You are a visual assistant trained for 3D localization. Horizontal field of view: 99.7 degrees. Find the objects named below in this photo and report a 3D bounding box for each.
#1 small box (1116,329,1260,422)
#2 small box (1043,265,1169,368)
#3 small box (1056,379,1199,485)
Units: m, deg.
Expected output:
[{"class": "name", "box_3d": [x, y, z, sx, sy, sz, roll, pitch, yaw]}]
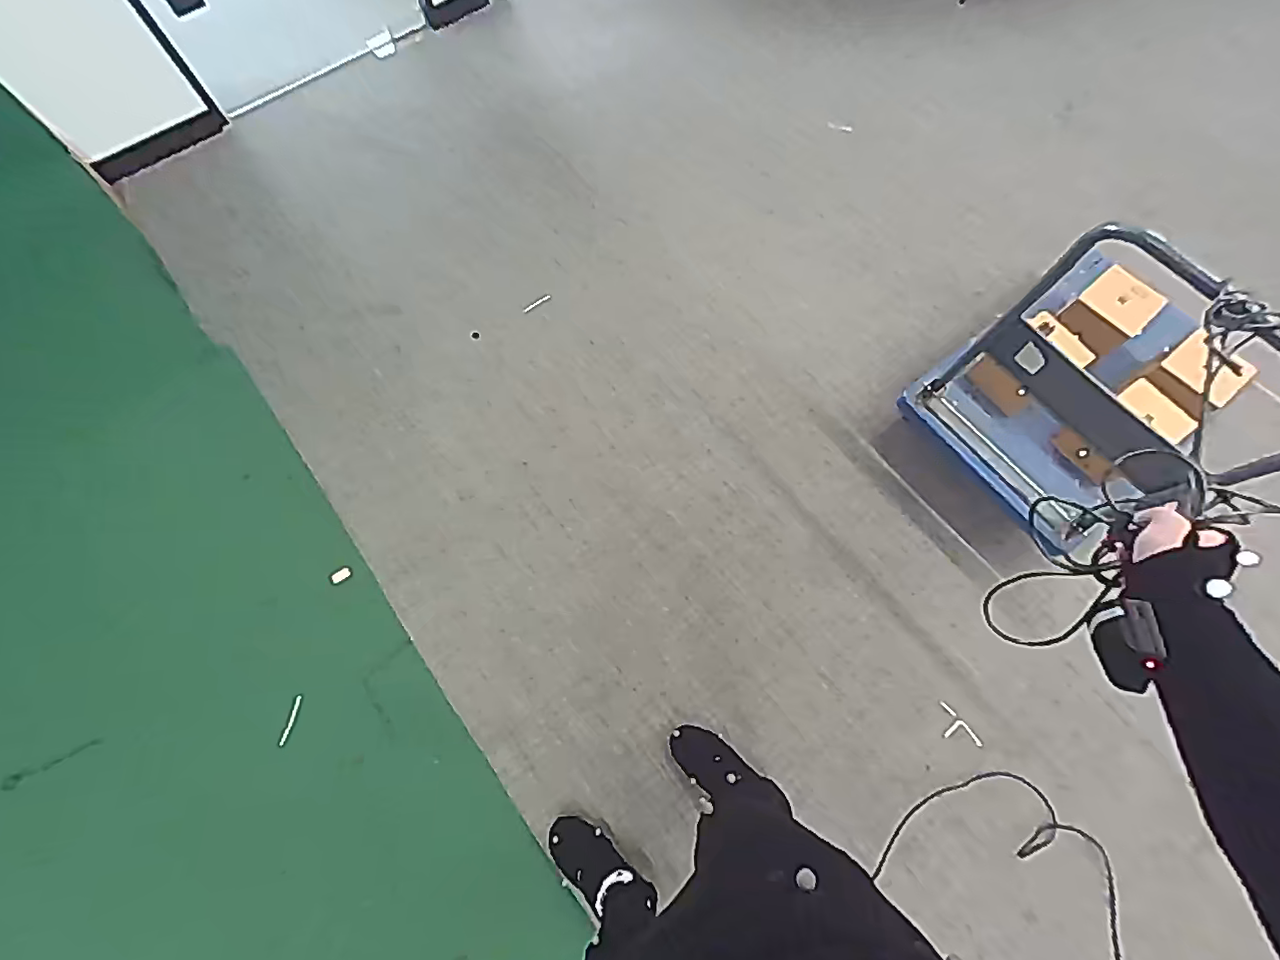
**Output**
[{"class": "small box", "box_3d": [1.419, -0.251, 1.415, 0.179, 0.176, 0.168, -37, 73, -11]}, {"class": "small box", "box_3d": [1.265, -0.443, 1.486, 0.179, 0.176, 0.168, -39, 75, -13]}, {"class": "small box", "box_3d": [1.220, -0.116, 1.370, 0.179, 0.176, 0.168, -34, 73, -10]}]
